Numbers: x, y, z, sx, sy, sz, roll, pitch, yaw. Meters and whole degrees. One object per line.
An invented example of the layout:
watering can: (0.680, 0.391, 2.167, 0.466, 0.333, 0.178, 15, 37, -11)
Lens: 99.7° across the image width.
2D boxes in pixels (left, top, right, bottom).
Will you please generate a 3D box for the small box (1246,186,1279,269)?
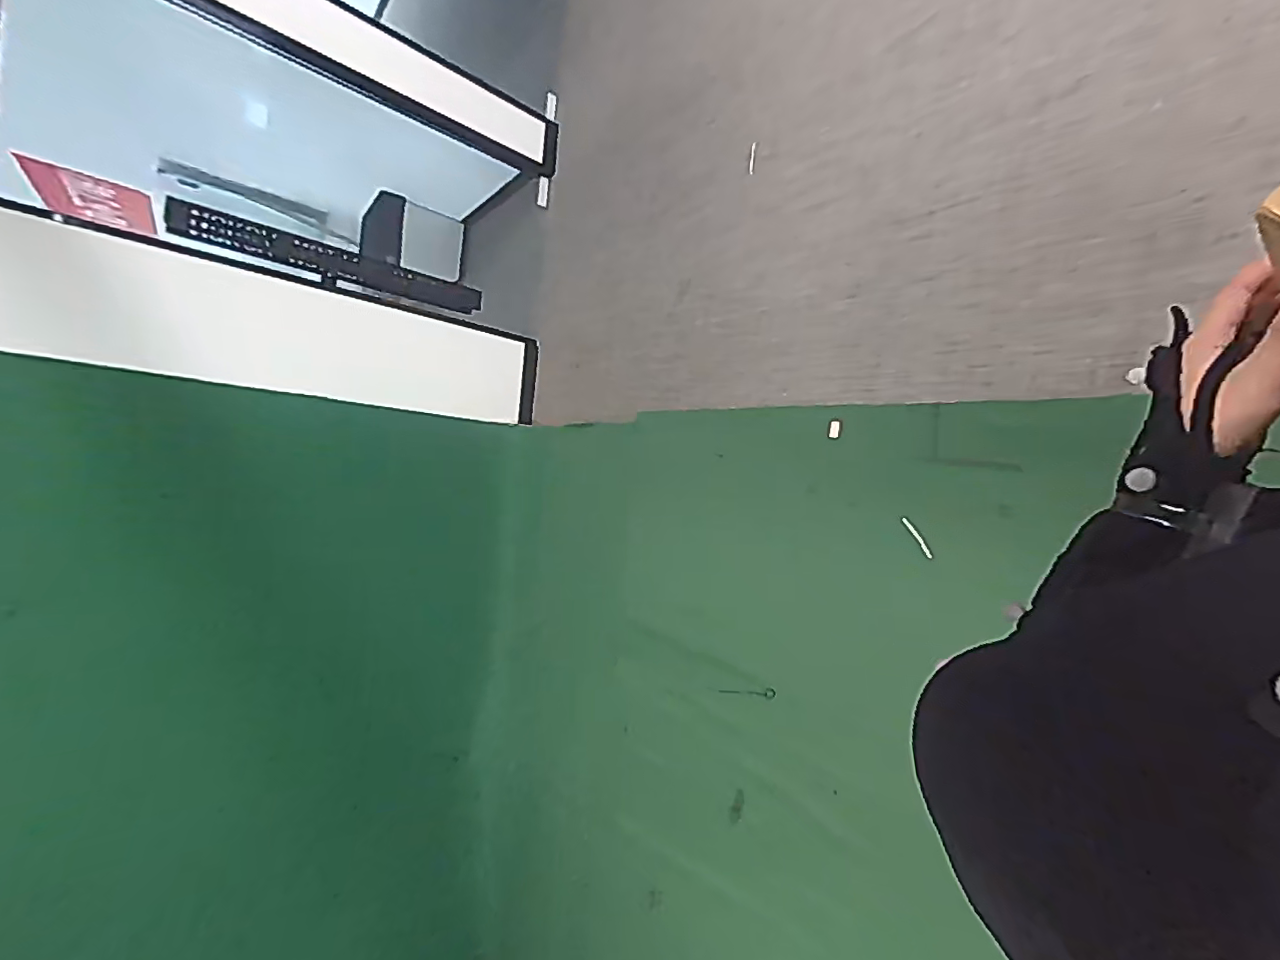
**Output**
small box: (0.442, -0.109, 0.225, 0.179, 0.176, 0.168, -48, 42, 36)
